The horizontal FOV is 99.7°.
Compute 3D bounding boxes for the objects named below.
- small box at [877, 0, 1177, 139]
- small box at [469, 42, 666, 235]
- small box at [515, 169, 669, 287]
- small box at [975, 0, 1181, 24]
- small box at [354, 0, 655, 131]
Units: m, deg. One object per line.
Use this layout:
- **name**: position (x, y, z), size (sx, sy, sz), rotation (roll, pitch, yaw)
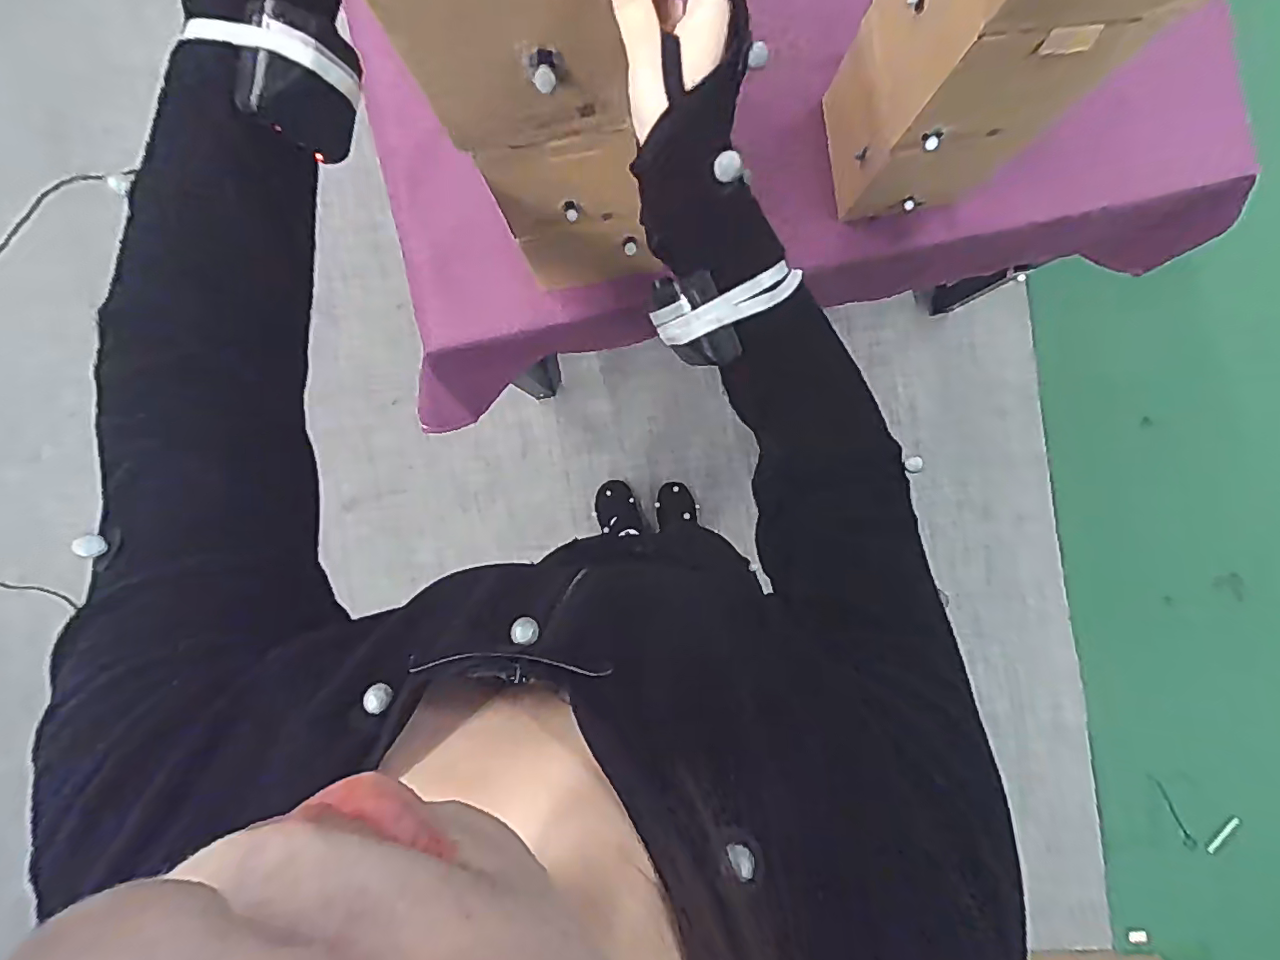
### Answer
- **small box**: position (0.345, -0.456, 0.514), size (0.168, 0.176, 0.179), rotation (-6, 91, 1)
- **small box**: position (-0.071, -0.368, 0.524), size (0.168, 0.176, 0.179), rotation (-9, 92, 1)
- **small box**: position (-0.064, -0.363, 0.688), size (0.179, 0.176, 0.168), rotation (-9, 91, 1)
- **small box**: position (0.345, -0.445, 0.351), size (0.179, 0.176, 0.168), rotation (-5, 93, 1)
- **small box**: position (-0.083, -0.354, 0.339), size (0.168, 0.176, 0.179), rotation (-11, 94, 2)
